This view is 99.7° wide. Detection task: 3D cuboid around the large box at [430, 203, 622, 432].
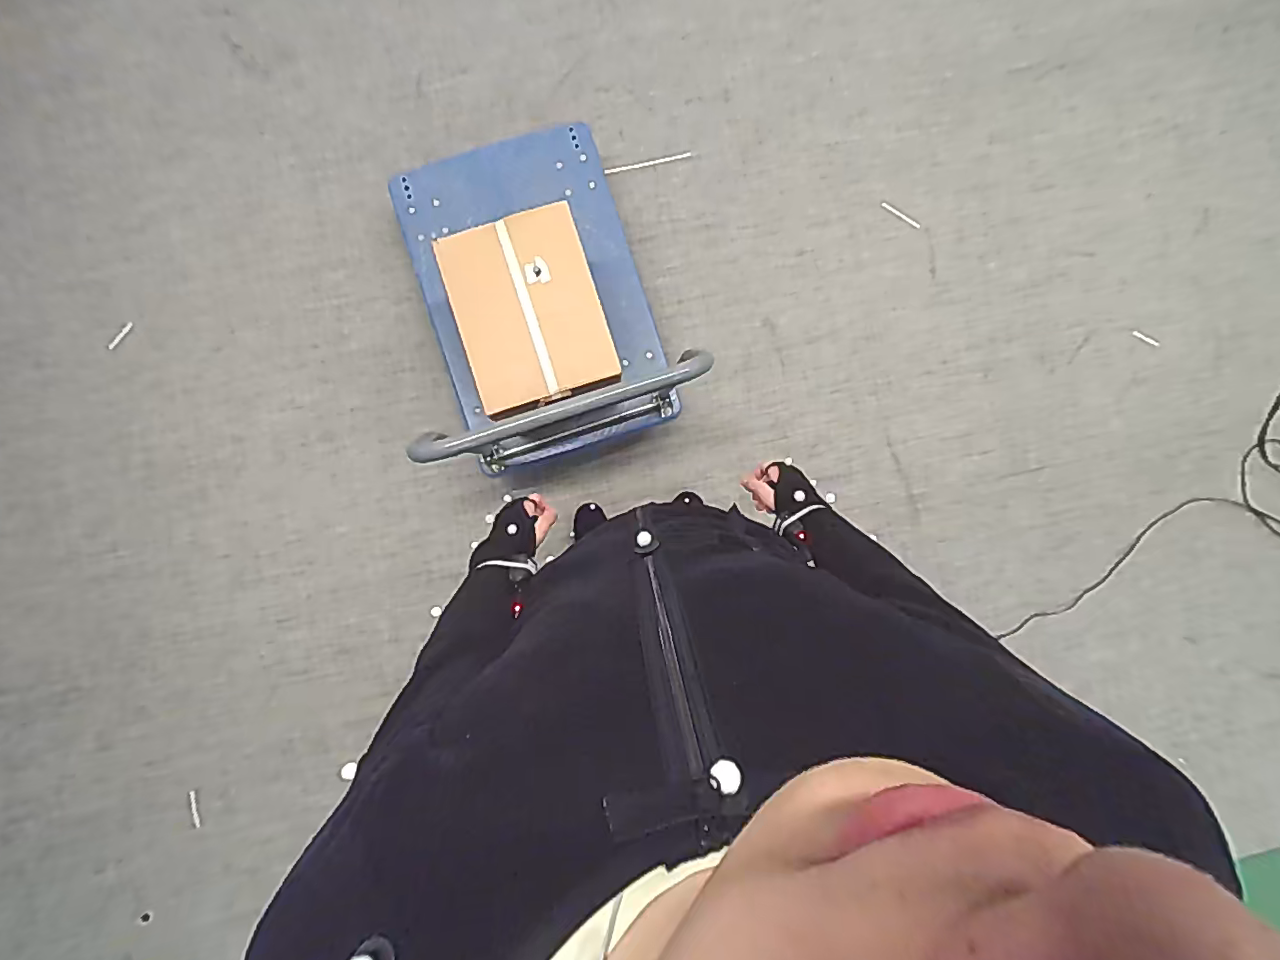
[{"bbox_3d":[-0.252,-0.369,1.323,0.320,0.320,0.408,-18,88,-3],"label":"large box"}]
